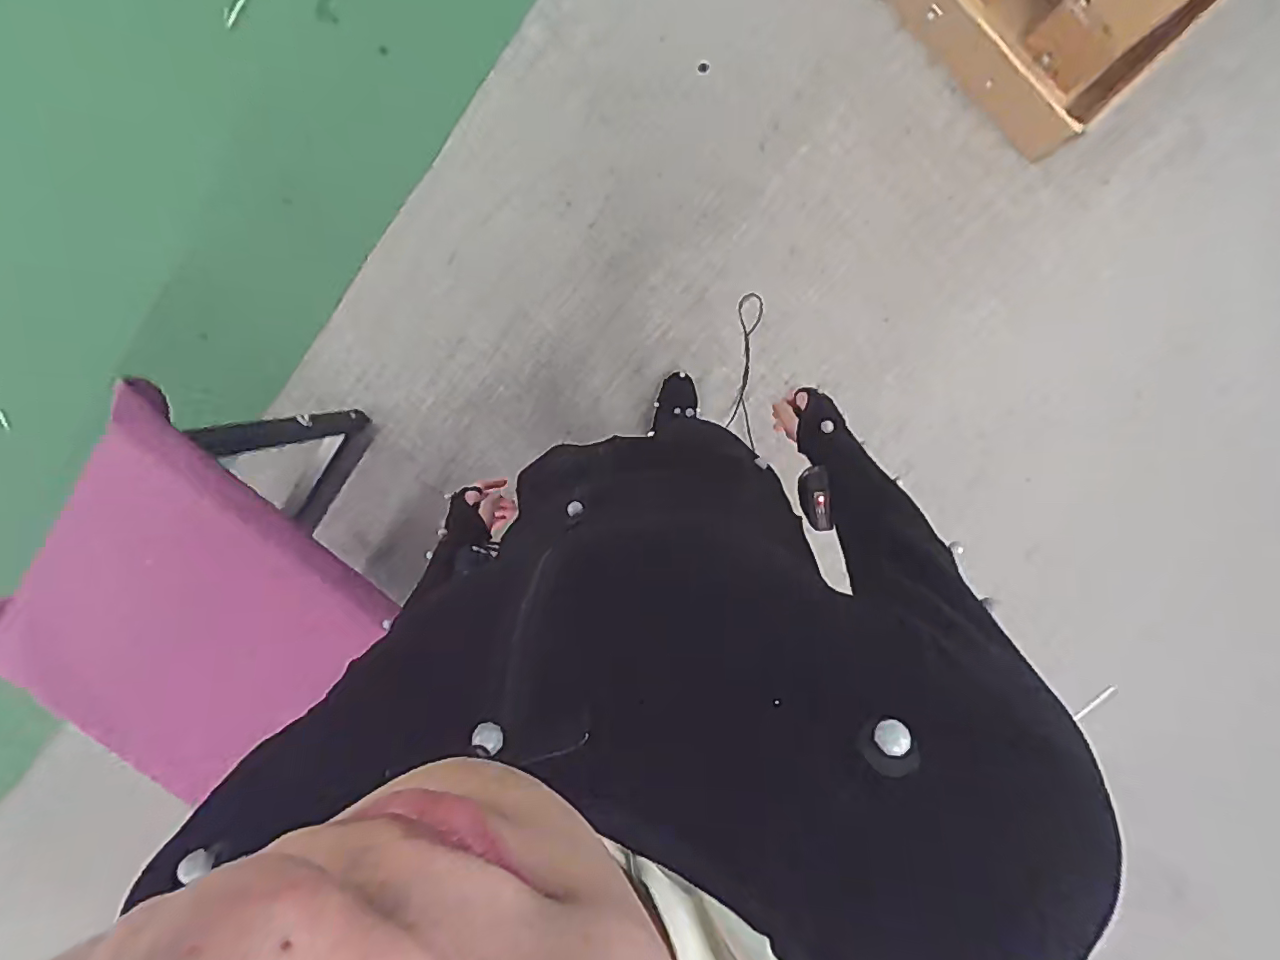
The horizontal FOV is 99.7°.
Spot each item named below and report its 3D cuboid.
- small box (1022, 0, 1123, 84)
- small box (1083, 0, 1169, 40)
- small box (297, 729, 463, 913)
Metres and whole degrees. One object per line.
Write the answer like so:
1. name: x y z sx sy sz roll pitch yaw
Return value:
1. small box: 1.007 -1.041 1.194 0.168 0.176 0.179 44 102 -3
2. small box: 0.992 -1.011 1.033 0.179 0.176 0.168 -43 94 10
3. small box: -0.442 0.587 0.949 0.168 0.176 0.179 37 101 -4
